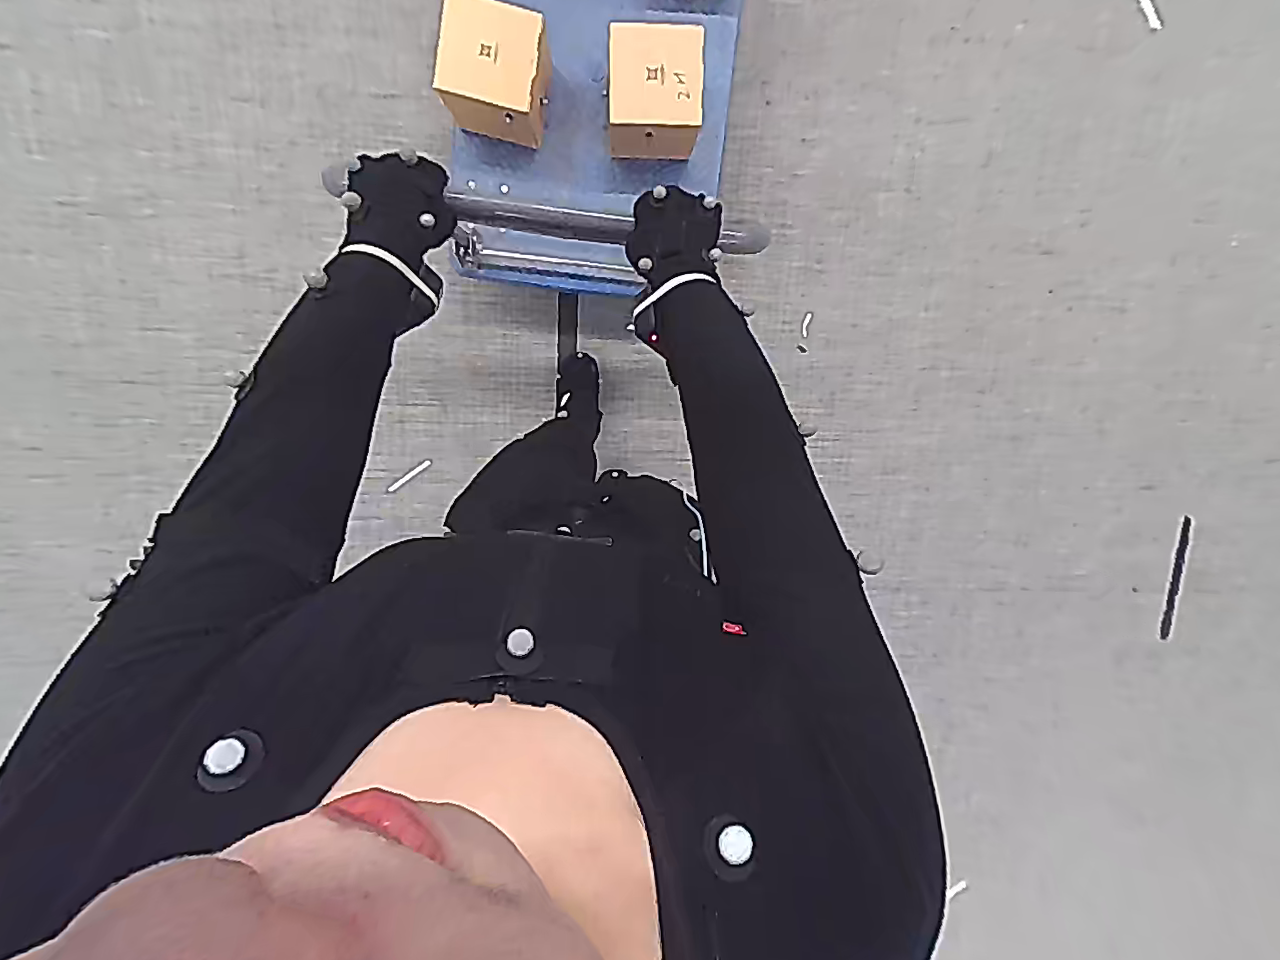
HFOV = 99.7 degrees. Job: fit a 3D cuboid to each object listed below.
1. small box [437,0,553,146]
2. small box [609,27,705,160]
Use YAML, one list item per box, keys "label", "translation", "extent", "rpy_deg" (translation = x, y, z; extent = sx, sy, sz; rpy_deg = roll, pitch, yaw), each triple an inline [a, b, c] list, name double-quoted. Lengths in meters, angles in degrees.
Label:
- label: "small box"
  translation: [-0.275, -0.786, 1.056]
  extent: [0.179, 0.176, 0.168]
  rpy_deg: [11, 101, -7]
- label: "small box"
  translation: [0.028, -0.758, 1.078]
  extent: [0.179, 0.176, 0.168]
  rpy_deg: [0, 102, -3]
